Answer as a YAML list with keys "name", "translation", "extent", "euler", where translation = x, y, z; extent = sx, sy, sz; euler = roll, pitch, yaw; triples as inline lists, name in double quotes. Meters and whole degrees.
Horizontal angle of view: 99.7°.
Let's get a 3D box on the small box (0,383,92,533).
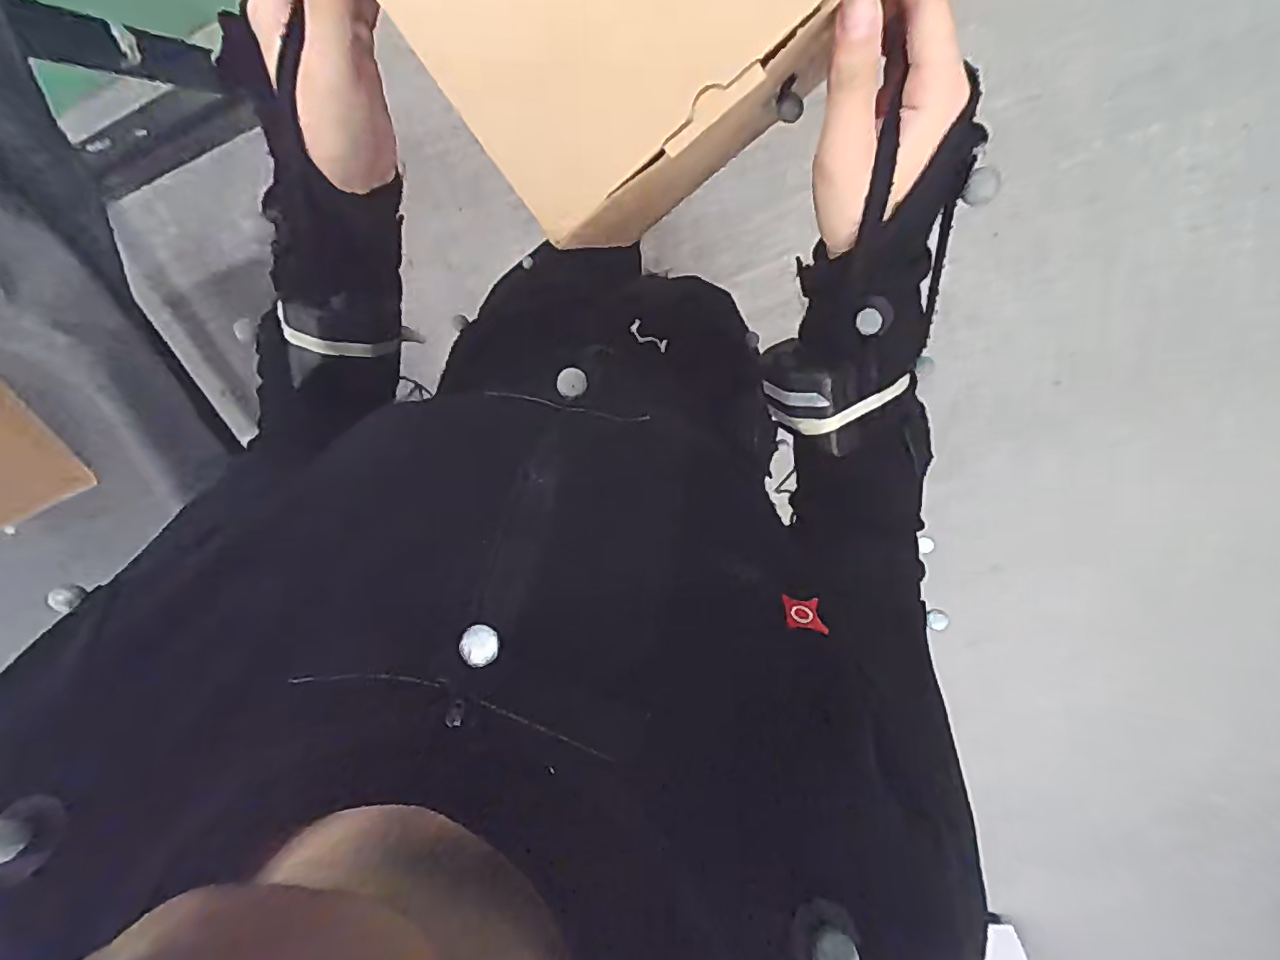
- name: "small box"
  translation: [-0.795, -0.006, 0.594]
  extent: [0.168, 0.176, 0.179]
  euler: [-18, 116, 14]
